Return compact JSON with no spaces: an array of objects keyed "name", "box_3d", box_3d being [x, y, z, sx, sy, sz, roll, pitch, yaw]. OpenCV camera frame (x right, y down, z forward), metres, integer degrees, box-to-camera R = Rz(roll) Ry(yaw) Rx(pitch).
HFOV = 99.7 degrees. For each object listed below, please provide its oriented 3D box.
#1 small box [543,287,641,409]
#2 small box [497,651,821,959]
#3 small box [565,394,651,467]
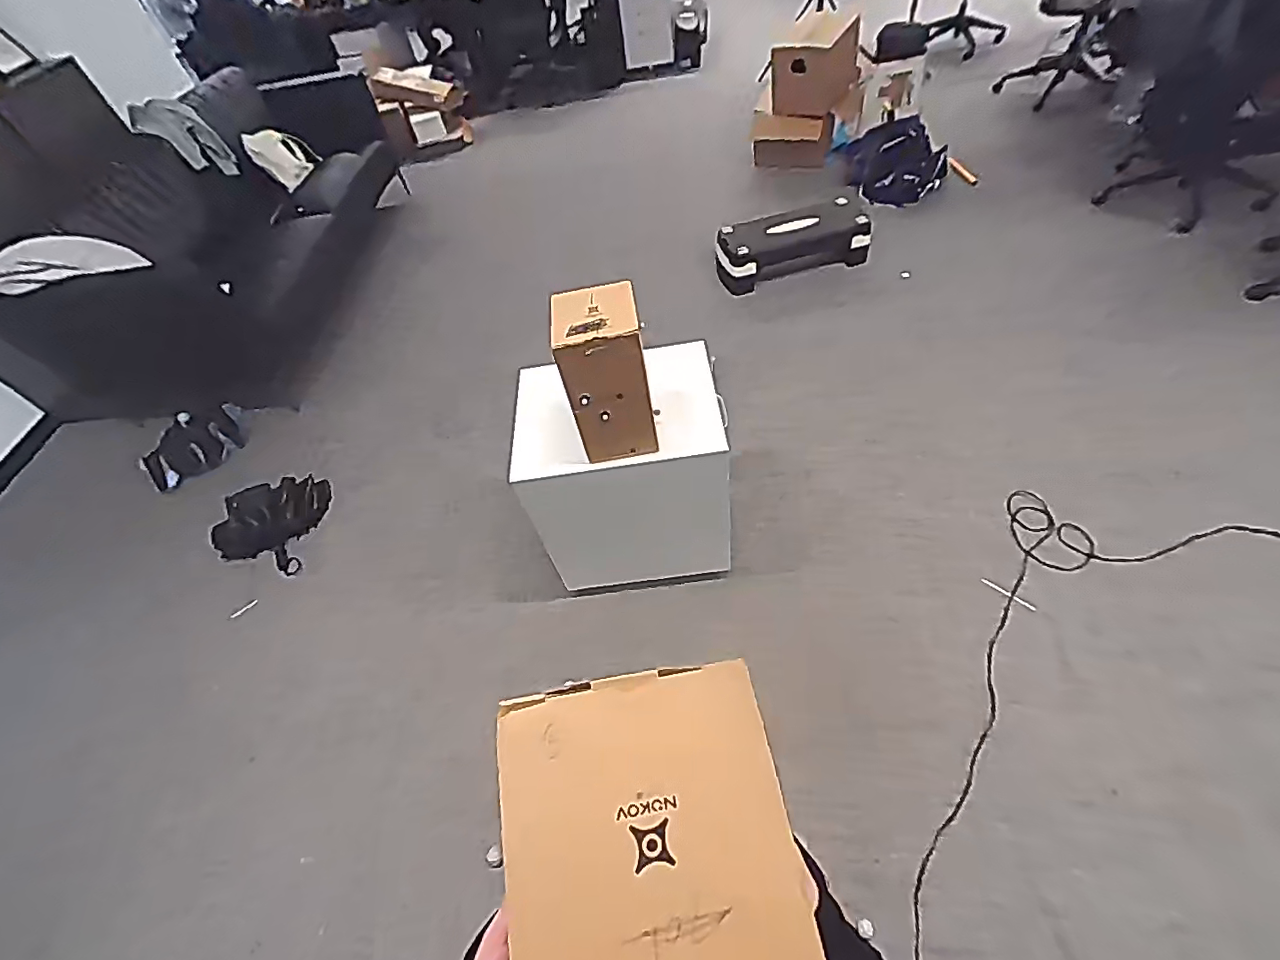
[{"name":"small box","box_3d":[-0.096,-0.260,1.103,0.168,0.176,0.179,-10,49,1]},{"name":"small box","box_3d":[-0.005,0.238,0.381,0.168,0.176,0.179,-7,62,-10]},{"name":"small box","box_3d":[-0.074,-0.156,1.229,0.168,0.176,0.179,-11,49,1]}]
